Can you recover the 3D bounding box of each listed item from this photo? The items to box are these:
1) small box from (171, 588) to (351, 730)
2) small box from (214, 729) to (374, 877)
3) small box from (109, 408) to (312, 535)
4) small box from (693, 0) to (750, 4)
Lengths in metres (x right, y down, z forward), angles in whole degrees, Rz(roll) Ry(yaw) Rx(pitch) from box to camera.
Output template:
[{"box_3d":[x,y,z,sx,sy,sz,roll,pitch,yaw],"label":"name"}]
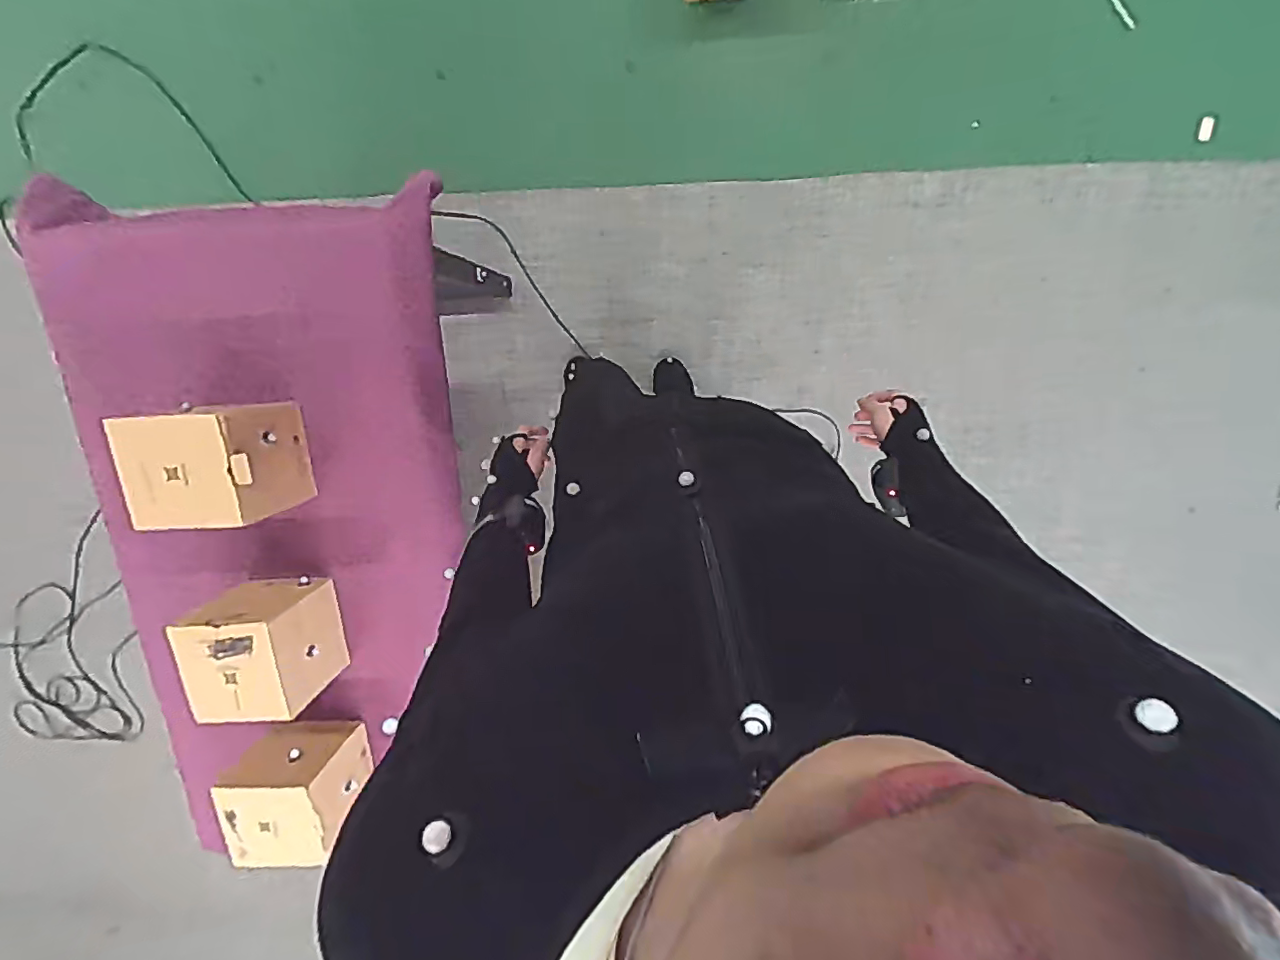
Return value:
[{"box_3d":[-0.624,0.291,0.915,0.168,0.176,0.179,-3,104,4],"label":"small box"},{"box_3d":[-0.608,0.575,0.980,0.179,0.176,0.168,-4,102,3],"label":"small box"},{"box_3d":[-0.646,-0.020,0.844,0.179,0.176,0.168,-2,103,4],"label":"small box"},{"box_3d":[0.194,-1.245,1.248,0.168,0.176,0.179,-2,102,5],"label":"small box"}]
